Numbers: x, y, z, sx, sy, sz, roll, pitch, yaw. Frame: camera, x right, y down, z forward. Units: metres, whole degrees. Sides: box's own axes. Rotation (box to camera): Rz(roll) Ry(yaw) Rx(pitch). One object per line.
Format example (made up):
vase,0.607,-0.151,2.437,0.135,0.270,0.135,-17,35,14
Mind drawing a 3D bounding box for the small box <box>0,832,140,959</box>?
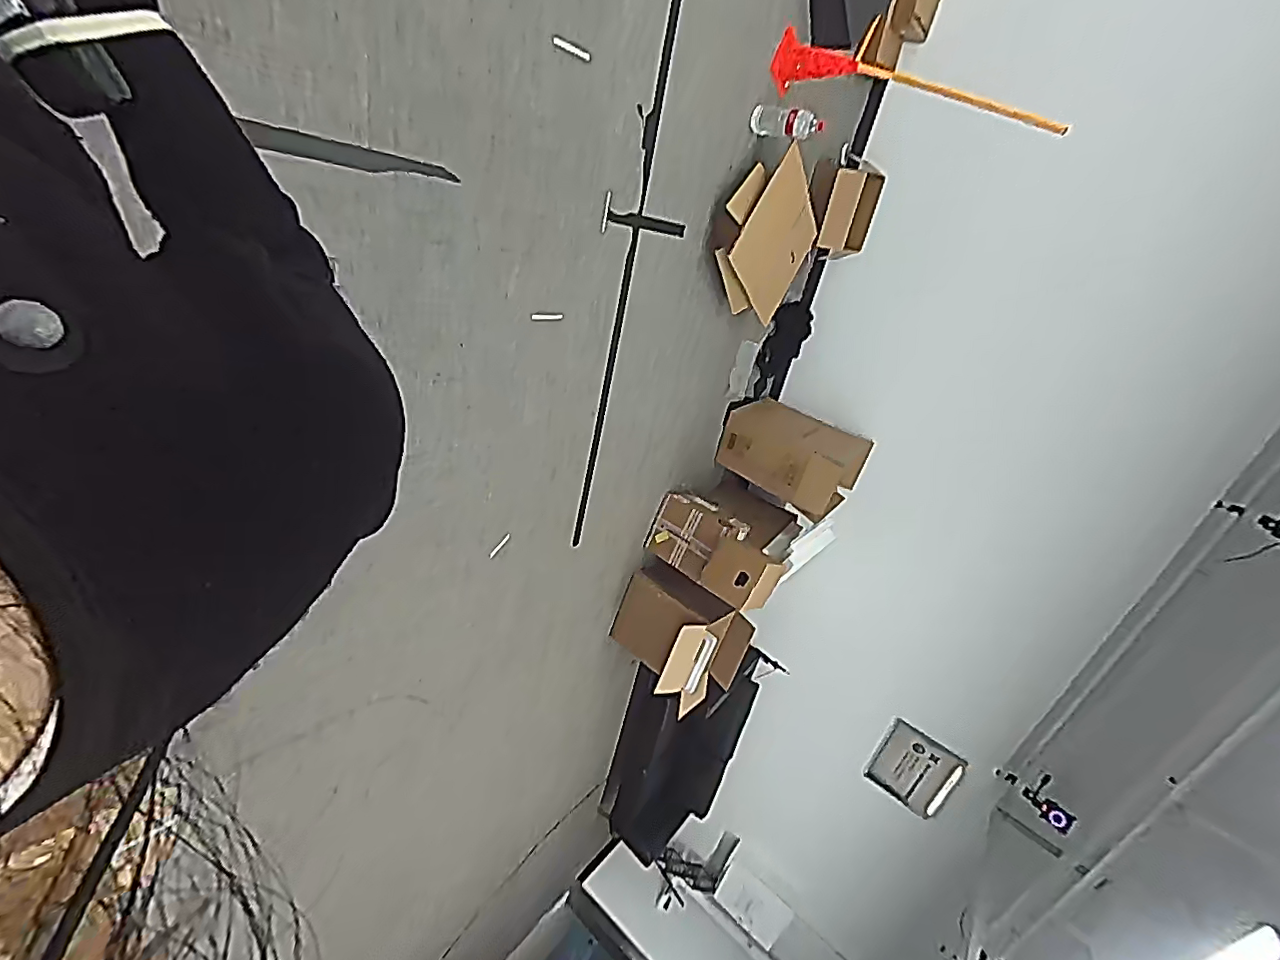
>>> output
small box,-1.249,0.928,1.184,0.179,0.176,0.168,-21,131,-48
